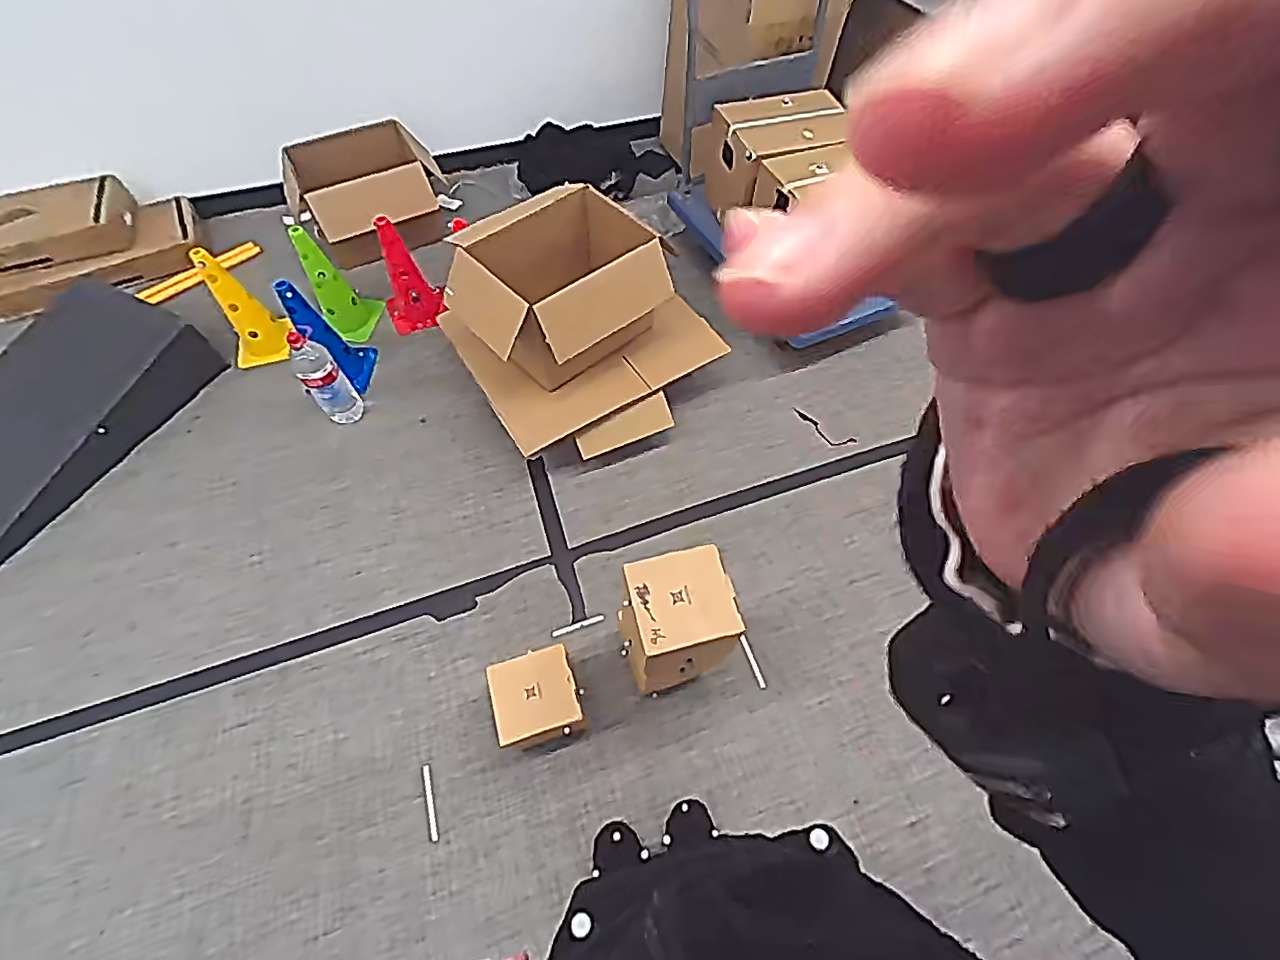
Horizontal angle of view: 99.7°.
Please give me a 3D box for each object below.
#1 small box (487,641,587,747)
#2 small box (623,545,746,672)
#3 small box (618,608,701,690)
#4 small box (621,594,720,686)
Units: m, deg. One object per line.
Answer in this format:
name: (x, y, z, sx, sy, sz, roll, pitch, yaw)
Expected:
small box: (-0.228, 0.488, 1.219, 0.179, 0.176, 0.168, -16, 62, -11)
small box: (0.072, 0.238, 0.991, 0.179, 0.176, 0.168, -11, 61, -9)
small box: (0.051, 0.386, 1.284, 0.168, 0.176, 0.179, -16, 61, -11)
small box: (0.066, 0.317, 1.135, 0.179, 0.176, 0.168, -14, 62, -10)
